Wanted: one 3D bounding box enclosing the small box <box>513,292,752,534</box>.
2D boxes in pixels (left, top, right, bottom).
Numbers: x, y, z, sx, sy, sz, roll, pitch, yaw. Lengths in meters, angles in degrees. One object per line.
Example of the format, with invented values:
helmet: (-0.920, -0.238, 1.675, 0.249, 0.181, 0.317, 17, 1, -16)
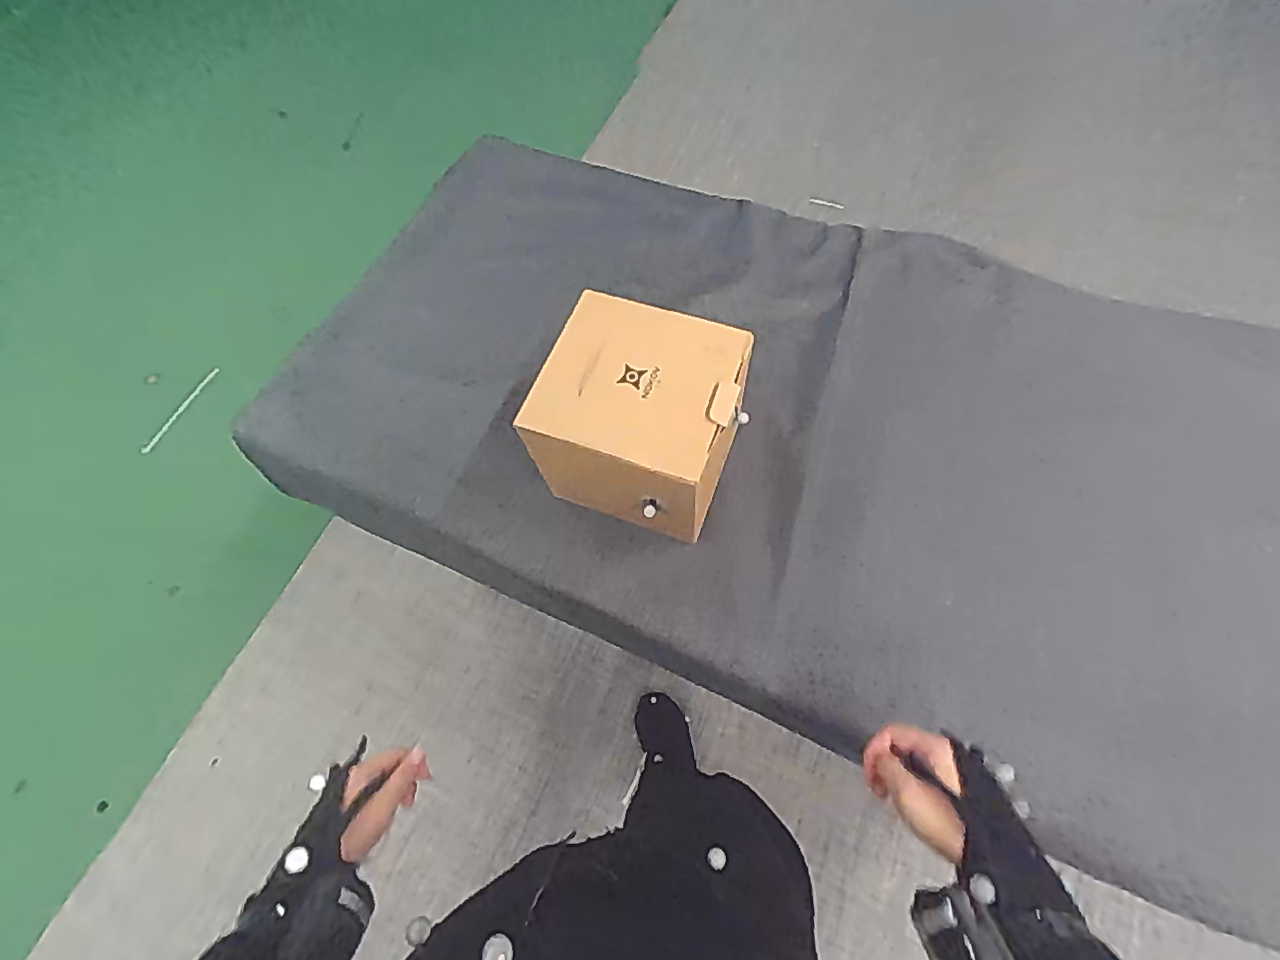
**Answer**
small box: (0.002, -0.059, 0.562, 0.179, 0.176, 0.168, 18, 68, 13)
